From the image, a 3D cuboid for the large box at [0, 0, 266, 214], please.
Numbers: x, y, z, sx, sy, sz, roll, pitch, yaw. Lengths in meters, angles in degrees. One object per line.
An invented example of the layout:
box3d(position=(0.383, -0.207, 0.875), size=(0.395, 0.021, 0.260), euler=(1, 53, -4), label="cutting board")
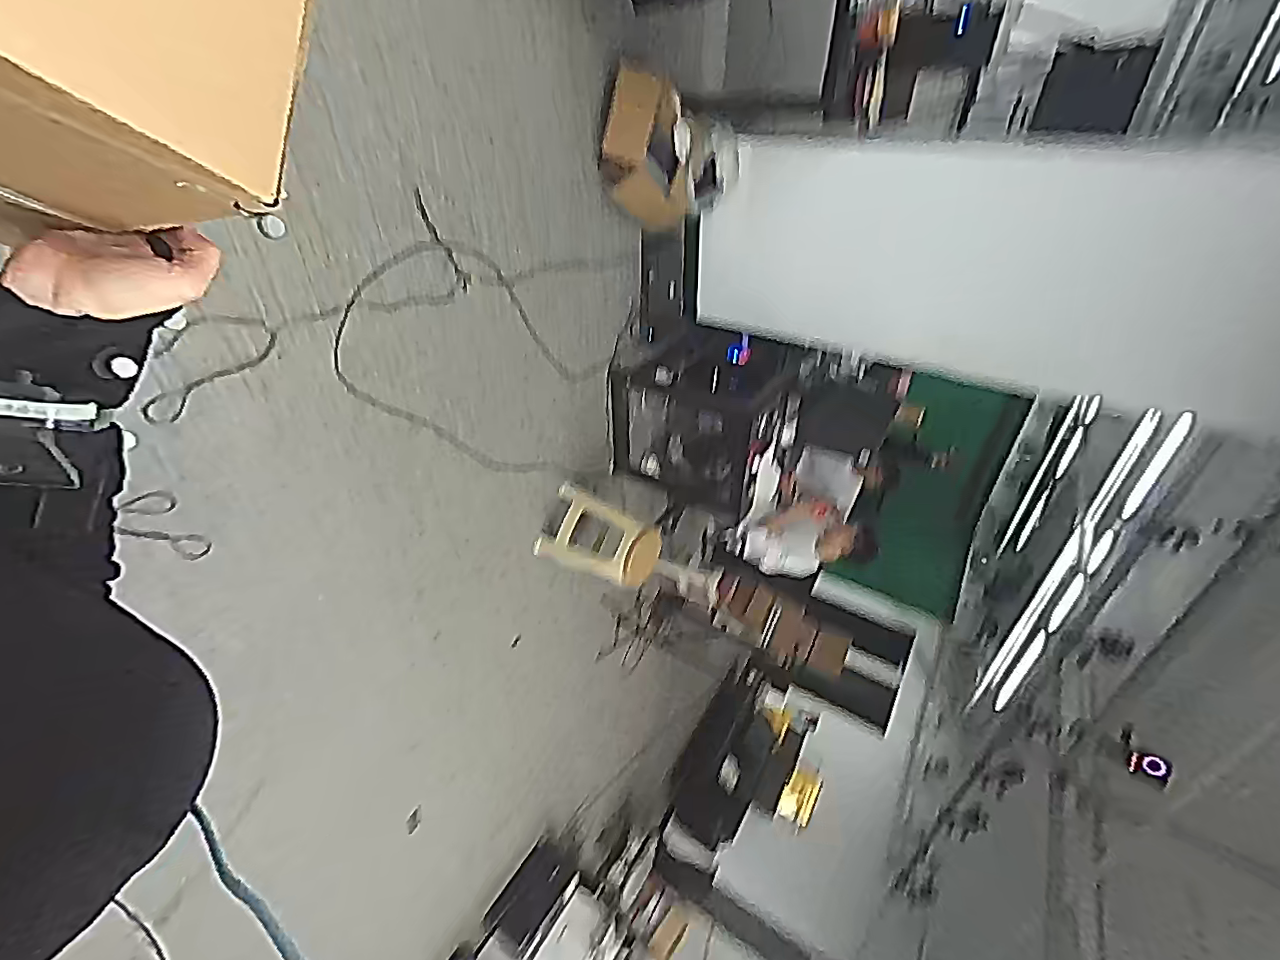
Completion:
box3d(position=(-0.387, -0.327, 0.140), size=(0.408, 0.320, 0.320), euler=(5, 94, -66), label="large box")
